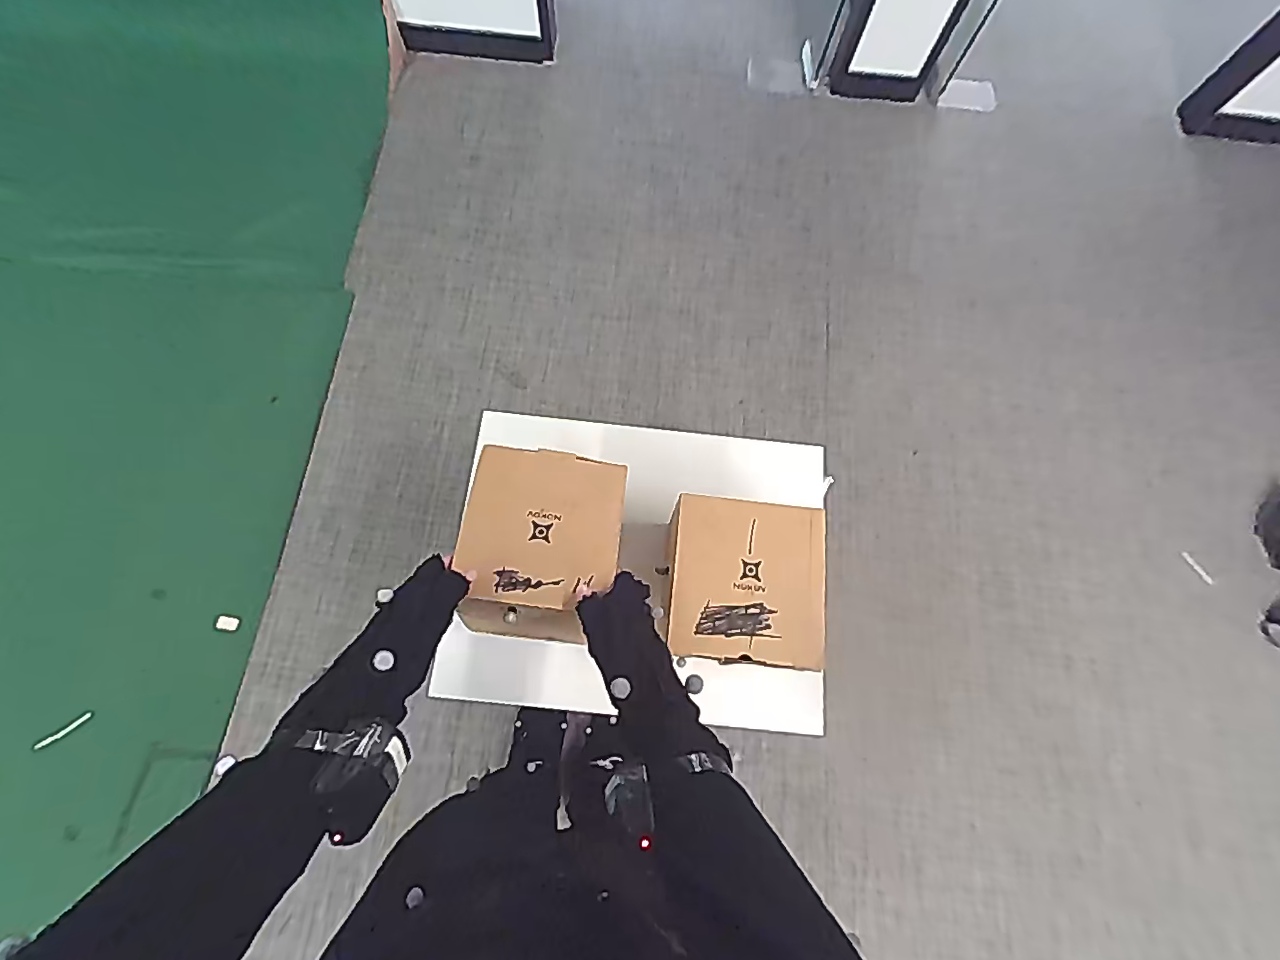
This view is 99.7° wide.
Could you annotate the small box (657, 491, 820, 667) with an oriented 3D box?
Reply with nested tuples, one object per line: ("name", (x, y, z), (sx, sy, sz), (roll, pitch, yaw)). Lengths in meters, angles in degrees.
("small box", (0.112, 0.127, 0.665), (0.168, 0.176, 0.179), (7, 72, 0))

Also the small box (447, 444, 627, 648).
("small box", (-0.113, 0.084, 0.646), (0.168, 0.176, 0.179), (8, 59, -3))
